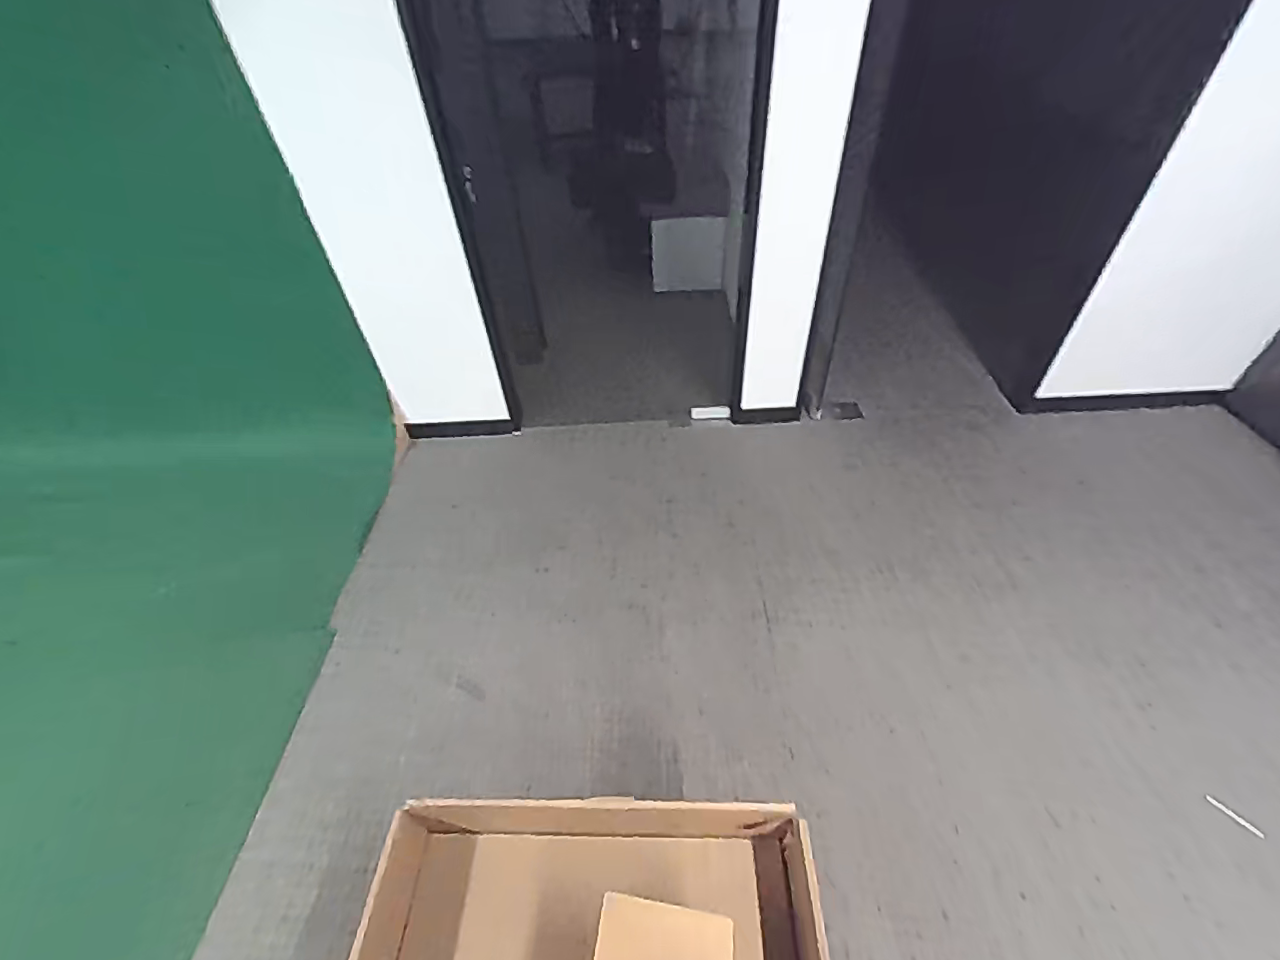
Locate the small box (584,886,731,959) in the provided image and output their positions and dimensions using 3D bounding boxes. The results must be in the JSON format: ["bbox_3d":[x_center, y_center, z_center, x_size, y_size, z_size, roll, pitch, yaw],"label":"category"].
[{"bbox_3d":[0.008,0.635,0.650,0.168,0.176,0.179,11,38,2],"label":"small box"}]
